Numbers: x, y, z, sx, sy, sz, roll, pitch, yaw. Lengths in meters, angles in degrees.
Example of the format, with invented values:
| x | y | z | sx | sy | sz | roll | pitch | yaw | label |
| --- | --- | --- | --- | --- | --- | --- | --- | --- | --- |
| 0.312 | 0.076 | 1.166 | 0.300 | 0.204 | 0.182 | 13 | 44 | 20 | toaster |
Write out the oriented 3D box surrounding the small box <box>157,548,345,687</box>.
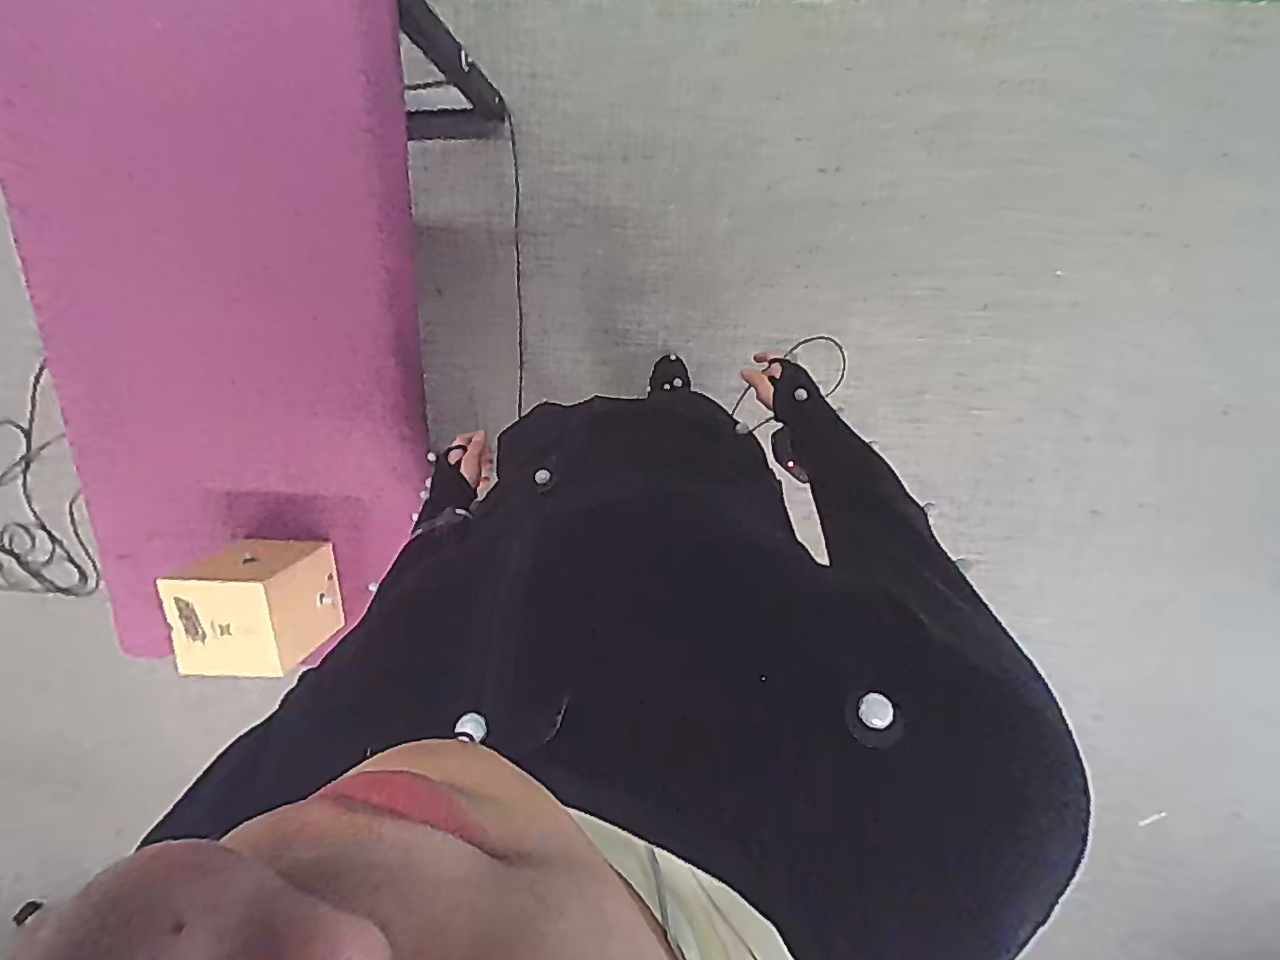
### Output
| x | y | z | sx | sy | sz | roll | pitch | yaw | label |
| --- | --- | --- | --- | --- | --- | --- | --- | --- | --- |
| -0.628 | 0.220 | 0.895 | 0.179 | 0.176 | 0.168 | 0 | 105 | 3 | small box |
